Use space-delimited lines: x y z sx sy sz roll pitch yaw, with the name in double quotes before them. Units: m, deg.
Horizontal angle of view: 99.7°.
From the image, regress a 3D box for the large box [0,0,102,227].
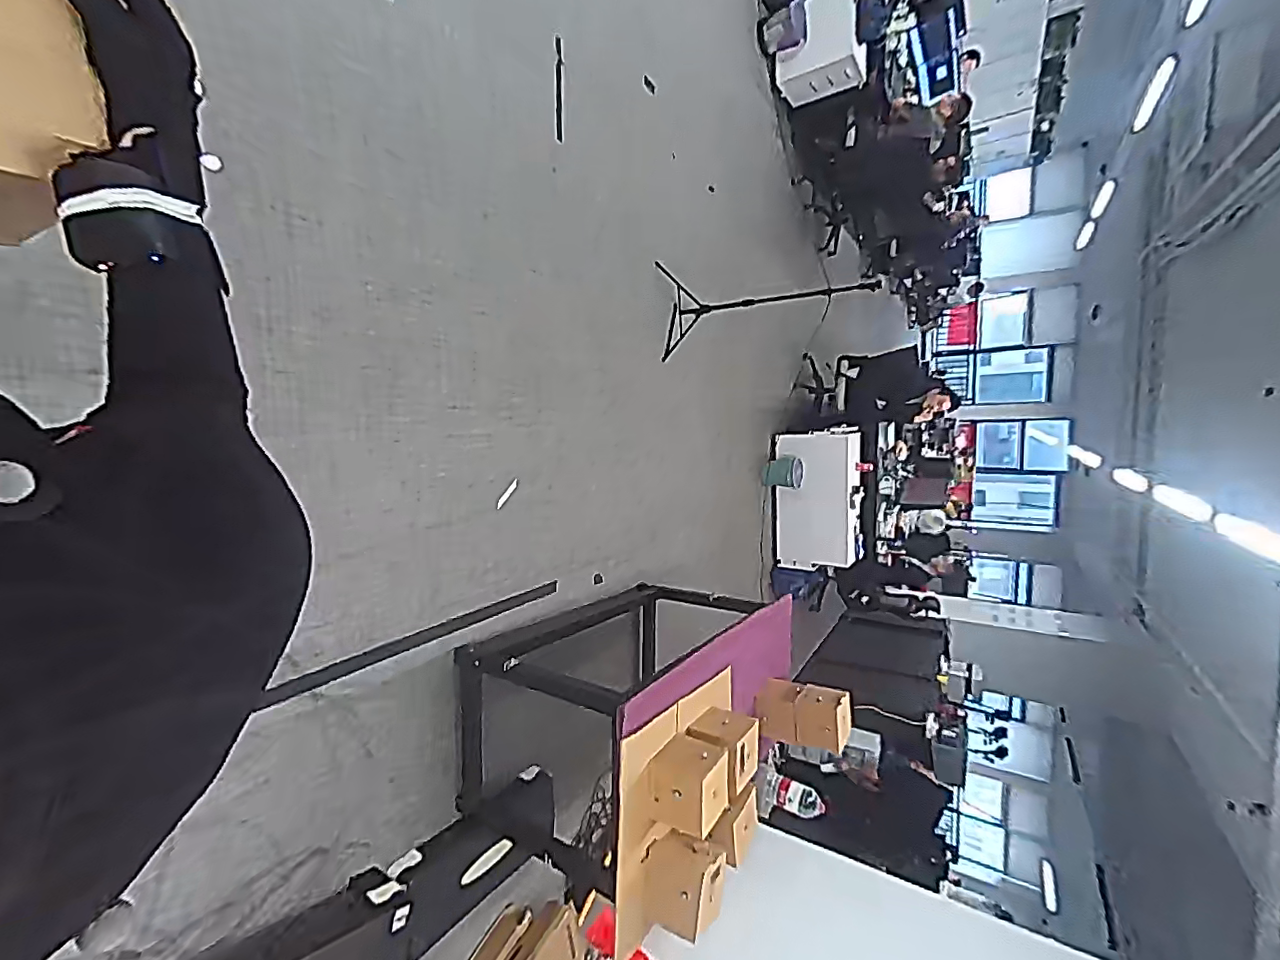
"large box" -0.629 -0.361 0.287 0.408 0.320 0.320 -14 109 -57
